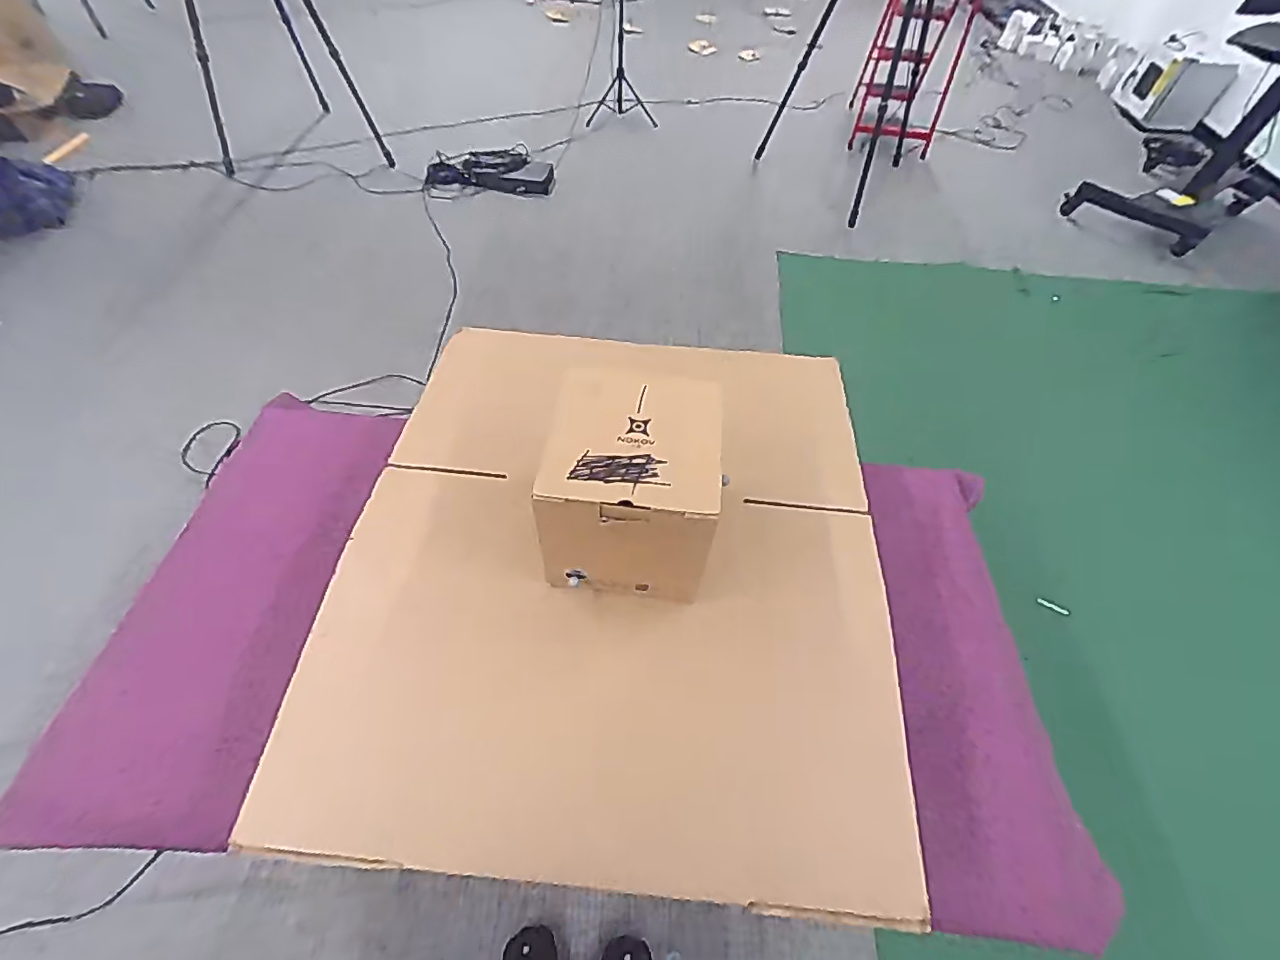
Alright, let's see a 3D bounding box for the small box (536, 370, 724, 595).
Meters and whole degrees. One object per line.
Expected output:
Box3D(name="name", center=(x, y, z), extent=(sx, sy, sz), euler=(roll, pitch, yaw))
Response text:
Box3D(name="small box", center=(-0.006, 0.008, 0.574), extent=(0.168, 0.176, 0.179), euler=(4, 54, -1))
